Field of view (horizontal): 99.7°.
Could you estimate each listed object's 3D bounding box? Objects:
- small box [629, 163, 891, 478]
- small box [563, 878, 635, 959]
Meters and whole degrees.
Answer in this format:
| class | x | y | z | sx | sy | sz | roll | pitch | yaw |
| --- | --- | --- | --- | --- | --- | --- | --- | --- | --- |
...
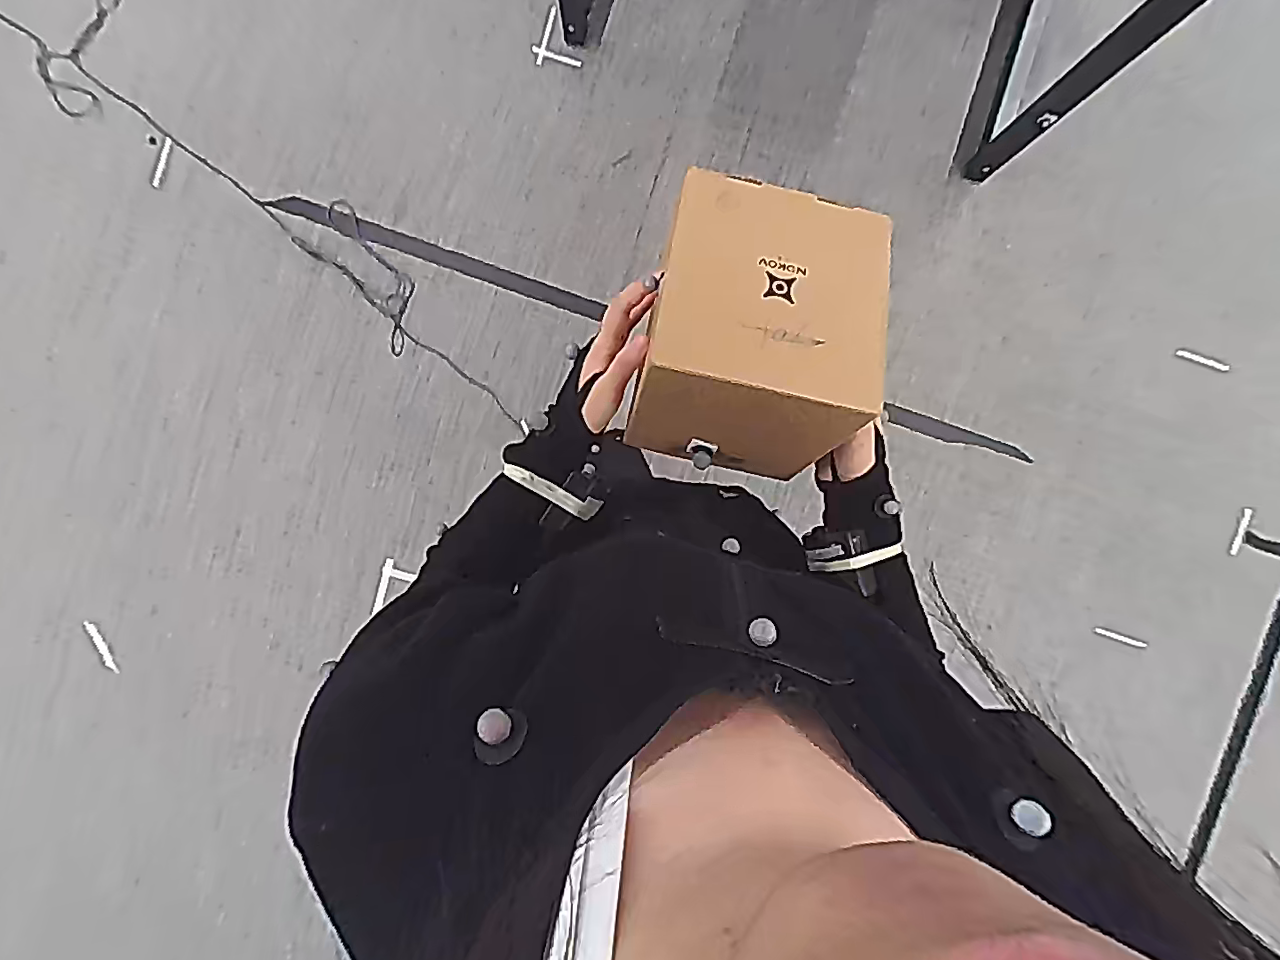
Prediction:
| class | x | y | z | sx | sy | sz | roll | pitch | yaw |
| --- | --- | --- | --- | --- | --- | --- | --- | --- | --- |
| small box | 0.089 | -0.119 | 0.464 | 0.168 | 0.176 | 0.179 | 12 | 73 | -4 |
| small box | -0.112 | 1.219 | 1.460 | 0.179 | 0.176 | 0.168 | 5 | 92 | -2 |
